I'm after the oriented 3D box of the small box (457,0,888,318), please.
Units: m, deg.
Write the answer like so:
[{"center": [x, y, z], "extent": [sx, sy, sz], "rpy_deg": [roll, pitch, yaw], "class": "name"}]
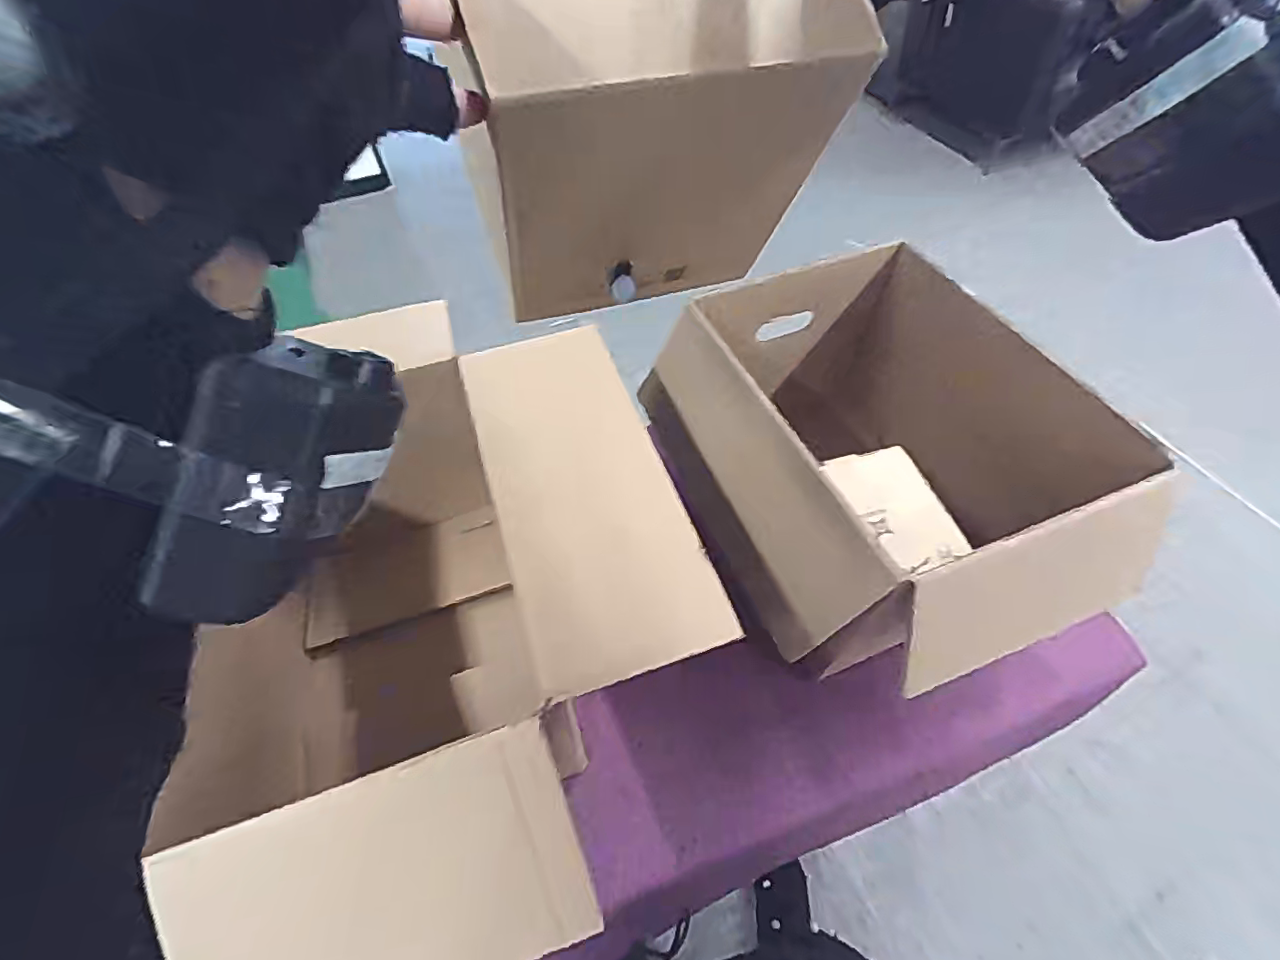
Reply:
[{"center": [-0.005, -0.221, 0.307], "extent": [0.168, 0.176, 0.179], "rpy_deg": [-15, 81, -11], "class": "small box"}]
